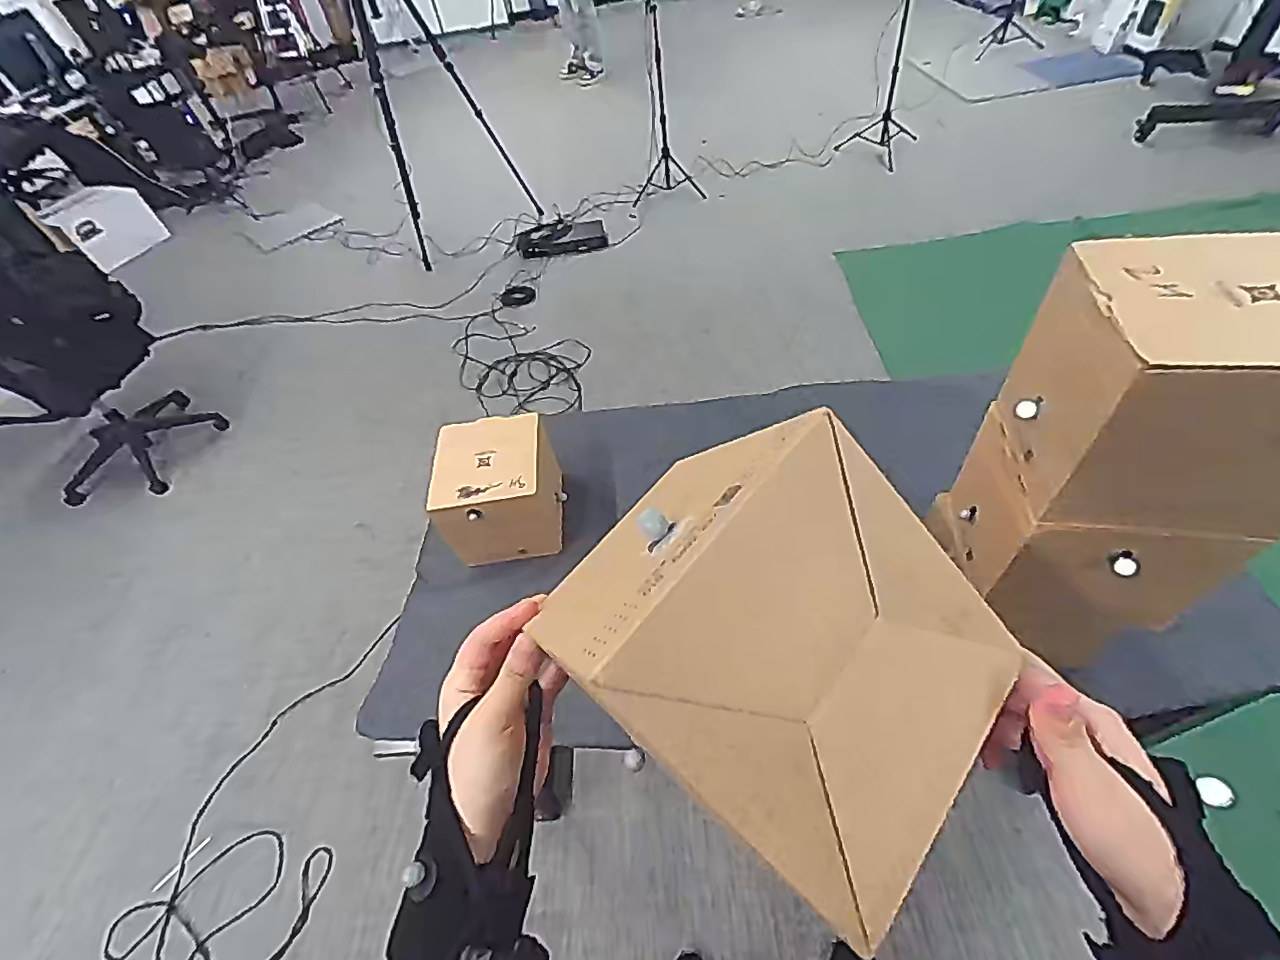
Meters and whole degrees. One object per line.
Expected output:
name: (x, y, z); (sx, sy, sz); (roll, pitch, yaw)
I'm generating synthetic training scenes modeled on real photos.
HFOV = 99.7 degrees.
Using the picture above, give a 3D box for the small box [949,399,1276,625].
small box: (0.446, 0.035, 0.554); (0.179, 0.176, 0.168); (2, 50, 13)

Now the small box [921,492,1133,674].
small box: (0.468, 0.128, 0.686); (0.168, 0.176, 0.179); (-6, 49, 6)

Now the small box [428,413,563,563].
small box: (-0.227, 0.016, 0.900); (0.168, 0.176, 0.179); (-8, 51, 2)

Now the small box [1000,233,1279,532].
small box: (0.426, -0.073, 0.431); (0.179, 0.176, 0.168); (3, 50, 15)

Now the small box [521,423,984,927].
small box: (0.058, 0.092, 0.313); (0.179, 0.176, 0.168); (48, 70, -10)
